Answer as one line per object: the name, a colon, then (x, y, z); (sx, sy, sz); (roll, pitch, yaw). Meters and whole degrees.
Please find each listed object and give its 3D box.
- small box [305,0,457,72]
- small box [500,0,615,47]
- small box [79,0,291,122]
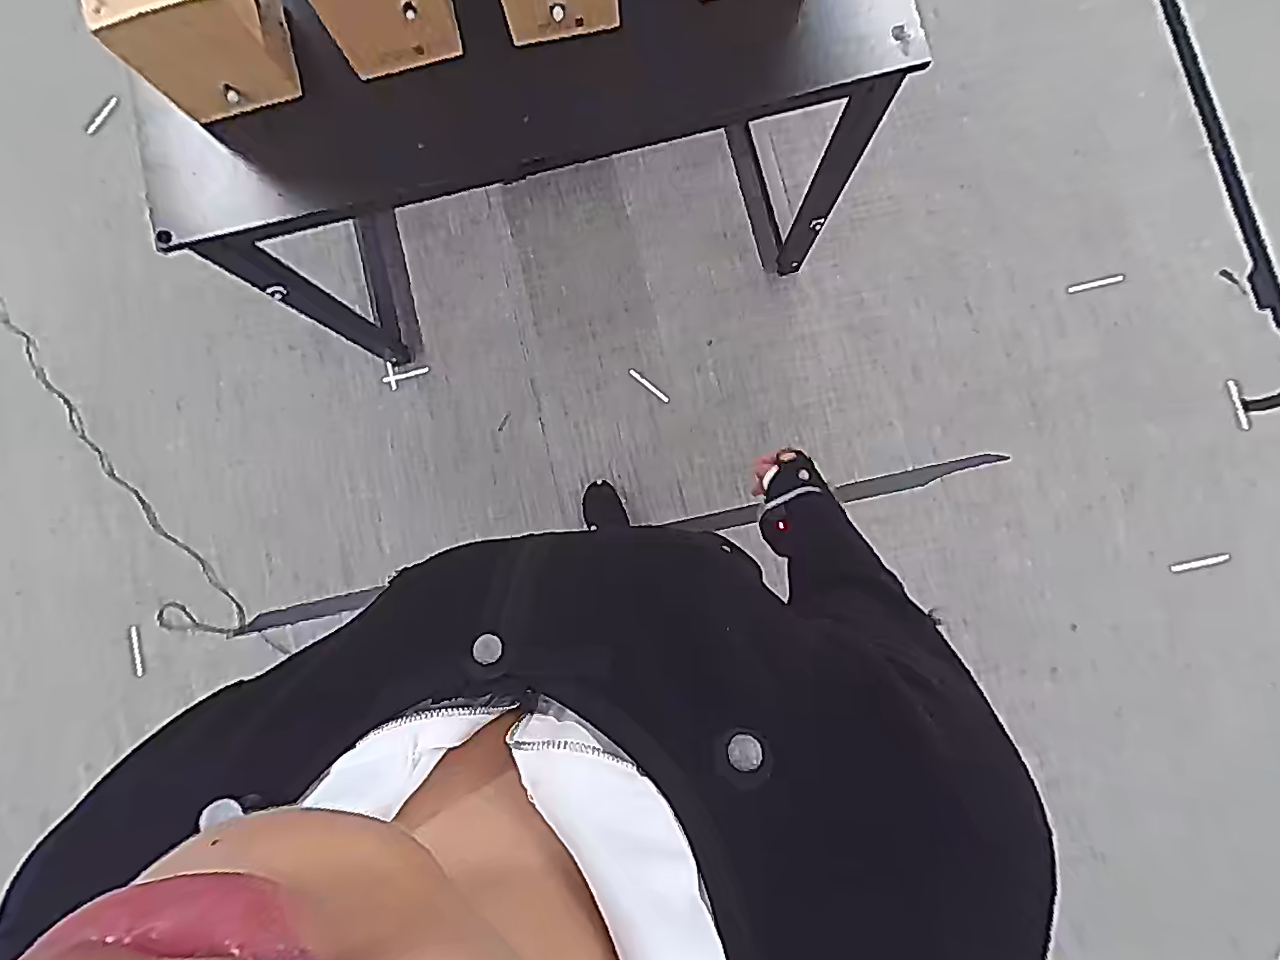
small box: (-0.376, -0.722, 0.762); (0.168, 0.176, 0.179); (-14, 85, 0)
small box: (-0.130, -0.766, 0.758); (0.168, 0.176, 0.179); (-9, 86, 1)
small box: (-0.629, -0.653, 0.761); (0.179, 0.176, 0.168); (-15, 85, -1)
